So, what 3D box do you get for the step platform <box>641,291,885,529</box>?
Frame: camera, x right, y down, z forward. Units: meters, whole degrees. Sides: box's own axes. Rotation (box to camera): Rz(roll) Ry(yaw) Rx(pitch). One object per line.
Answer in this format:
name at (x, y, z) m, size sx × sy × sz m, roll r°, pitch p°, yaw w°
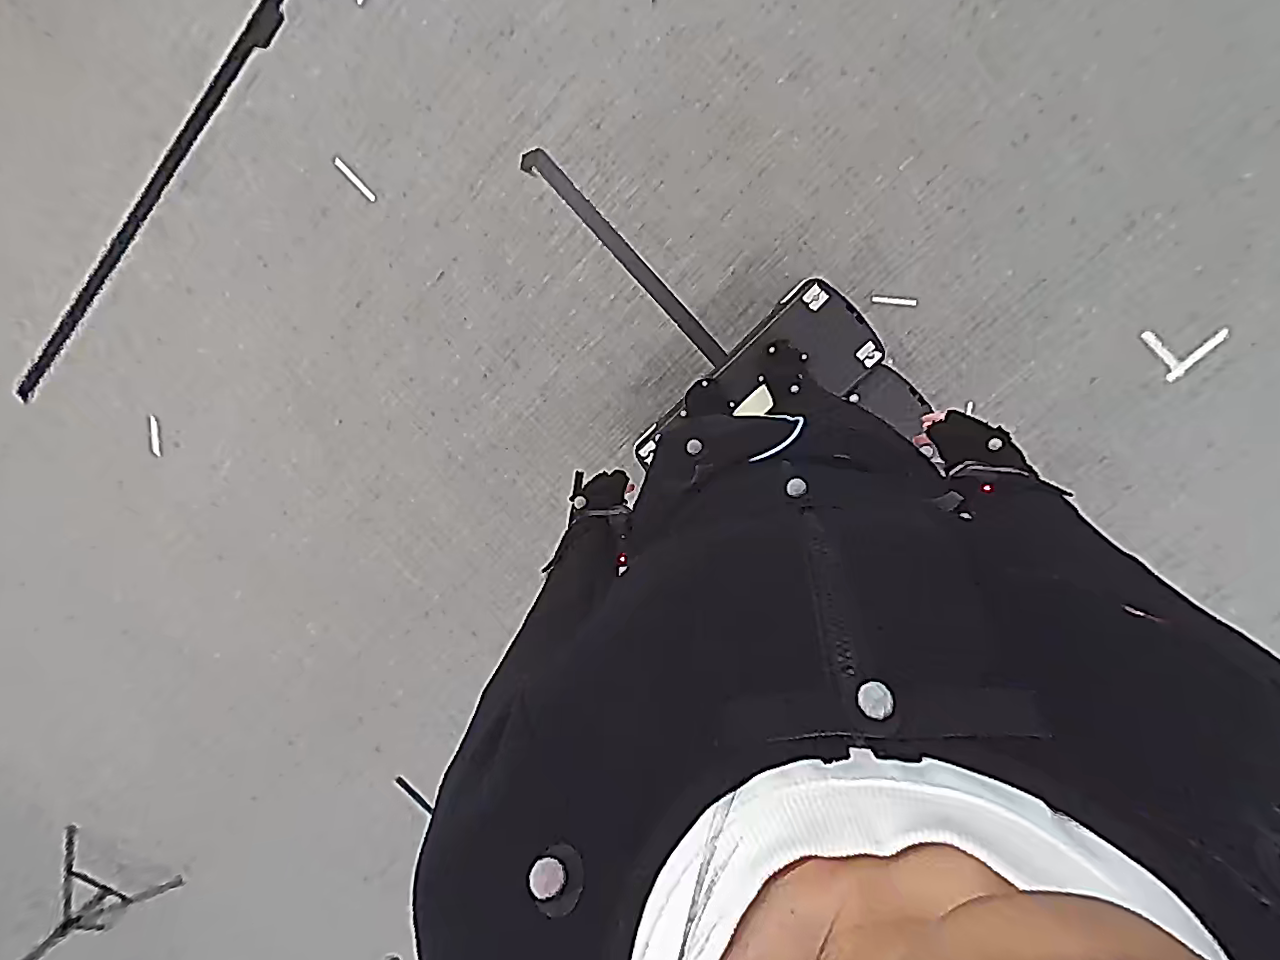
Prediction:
step platform at (0.319, -0.182, 1.489) m, size 0.286 × 0.204 × 0.684 m, roll 44°, pitch 102°, yaw -5°
